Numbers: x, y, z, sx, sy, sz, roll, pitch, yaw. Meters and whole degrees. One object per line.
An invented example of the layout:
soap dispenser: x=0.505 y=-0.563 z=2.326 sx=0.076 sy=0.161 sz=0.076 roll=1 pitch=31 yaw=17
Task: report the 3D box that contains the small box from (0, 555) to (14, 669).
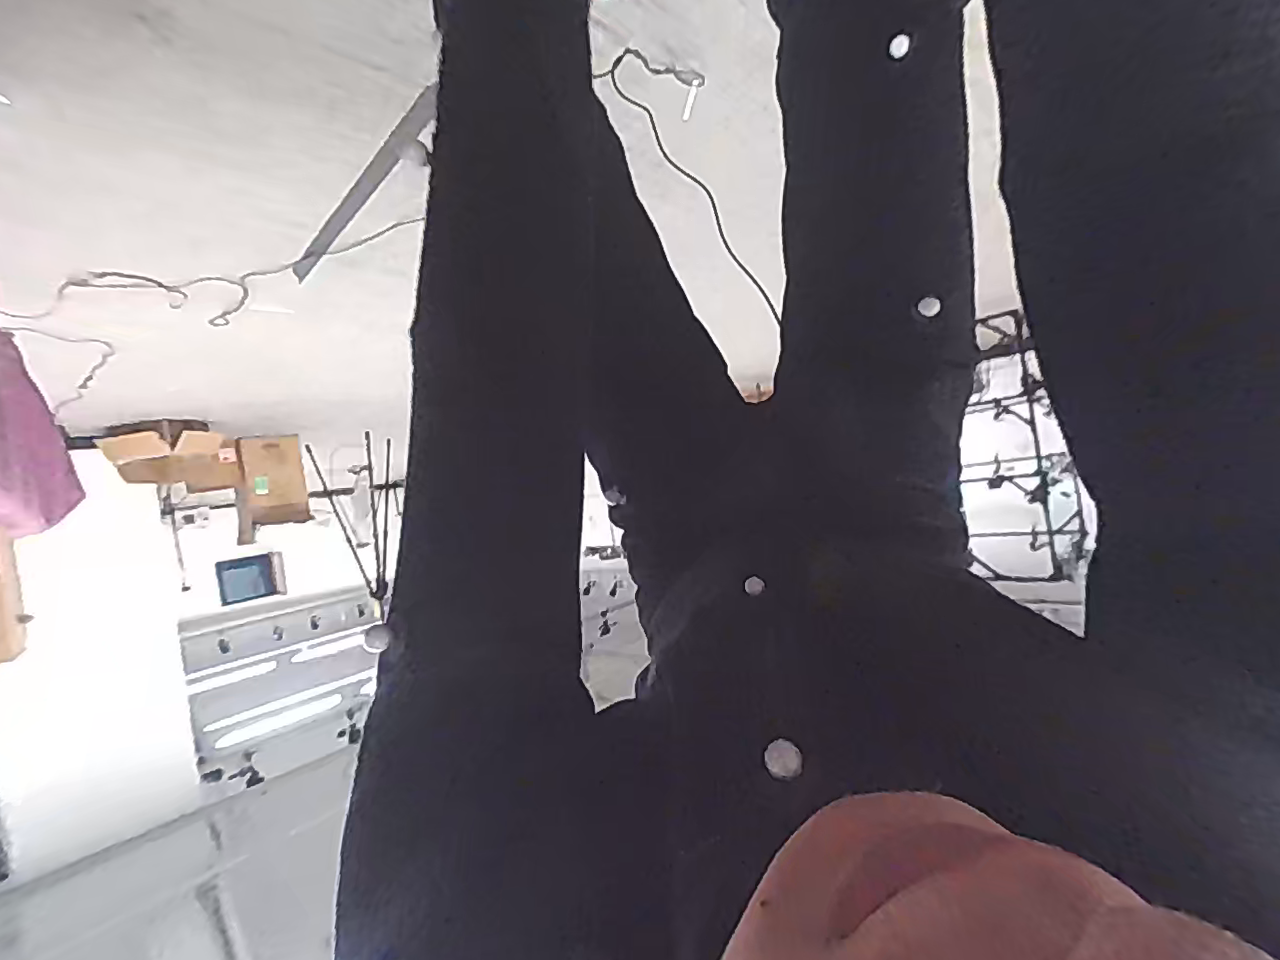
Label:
small box: x=-0.842 y=0.147 z=0.605 sx=0.179 sy=0.176 sz=0.168 roll=-10 pitch=180 yaw=44
